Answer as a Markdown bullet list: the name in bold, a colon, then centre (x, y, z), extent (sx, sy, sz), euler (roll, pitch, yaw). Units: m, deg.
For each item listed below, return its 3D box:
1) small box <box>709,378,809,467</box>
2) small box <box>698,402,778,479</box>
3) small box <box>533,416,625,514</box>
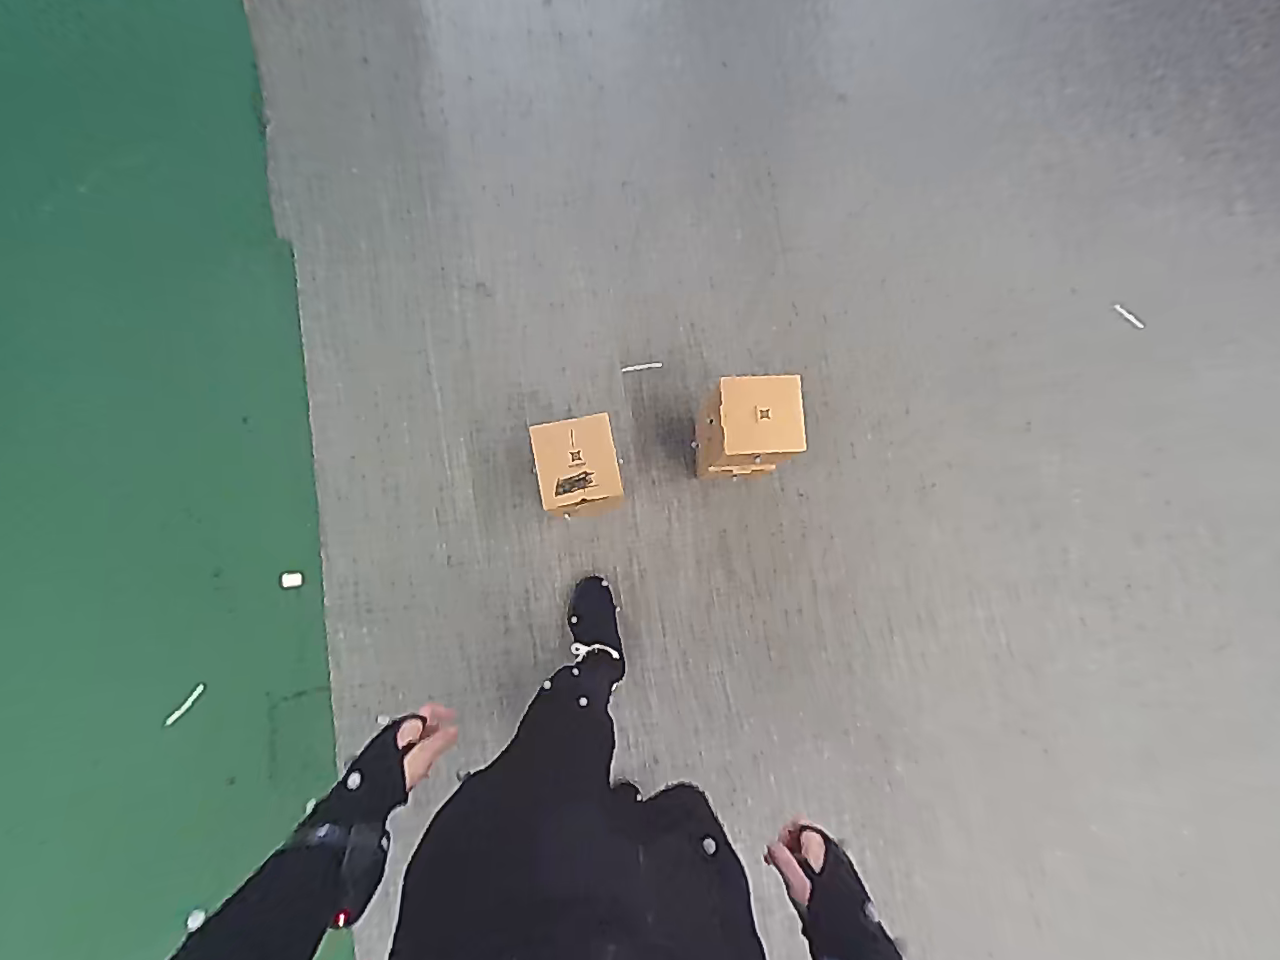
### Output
- **small box**: centre (0.258, -0.123, 1.204), extent (0.179, 0.176, 0.168), euler (-3, 83, -2)
- **small box**: centre (0.242, -0.094, 1.364), extent (0.168, 0.176, 0.179), euler (-1, 84, -3)
- **small box**: centre (-0.125, -0.023, 1.174), extent (0.168, 0.176, 0.179), euler (-11, 83, -4)
